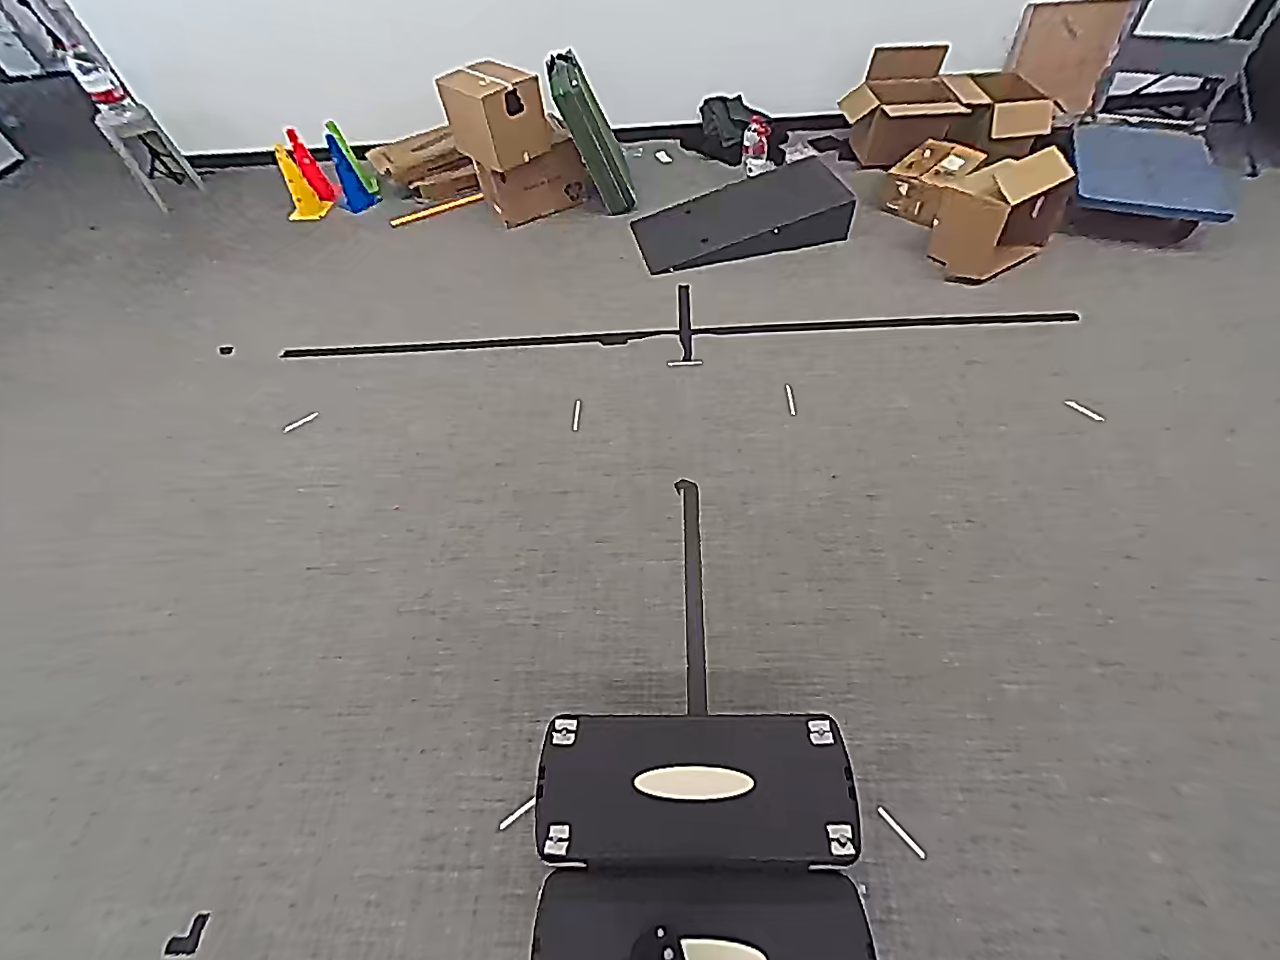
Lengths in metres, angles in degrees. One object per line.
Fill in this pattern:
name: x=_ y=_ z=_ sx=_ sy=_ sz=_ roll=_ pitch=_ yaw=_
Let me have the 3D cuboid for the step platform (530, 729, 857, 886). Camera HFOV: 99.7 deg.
step platform: x=0.106 y=0.714 z=1.188 sx=0.684 sy=0.204 sz=0.286 roll=-2 pitch=54 yaw=2
